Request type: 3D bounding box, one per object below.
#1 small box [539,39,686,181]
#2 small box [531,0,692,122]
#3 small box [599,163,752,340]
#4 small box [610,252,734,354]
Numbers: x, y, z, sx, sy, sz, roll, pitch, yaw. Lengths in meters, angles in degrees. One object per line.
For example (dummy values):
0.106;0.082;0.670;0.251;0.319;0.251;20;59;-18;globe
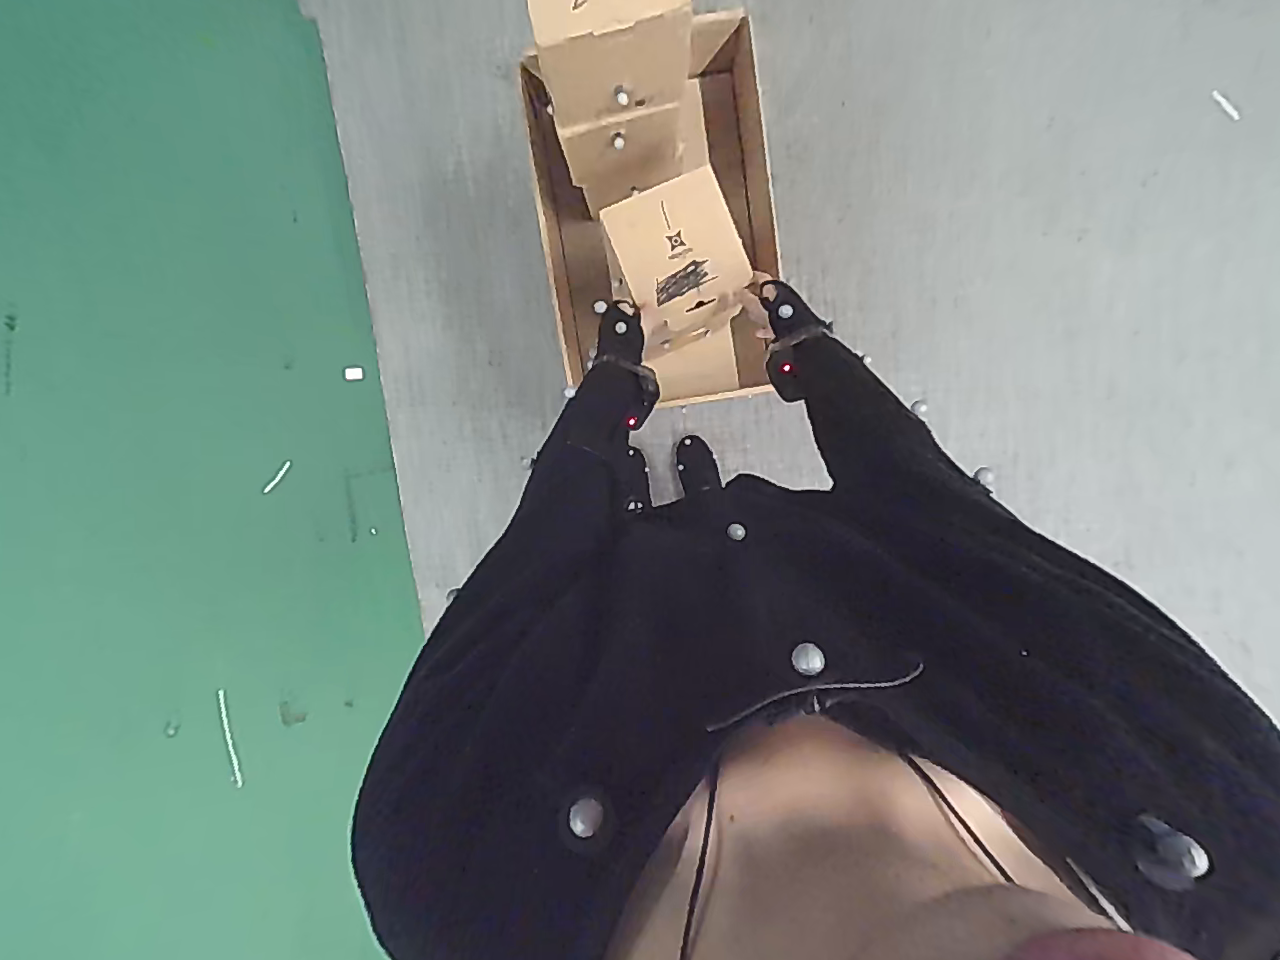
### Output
-0.037;-0.572;0.792;0.179;0.176;0.168;-13;97;4;small box
-0.038;-0.563;0.626;0.168;0.176;0.179;-11;97;4;small box
0.053;-0.325;0.816;0.168;0.176;0.179;-21;91;3;small box
0.056;-0.340;0.983;0.168;0.176;0.179;-21;94;3;small box
